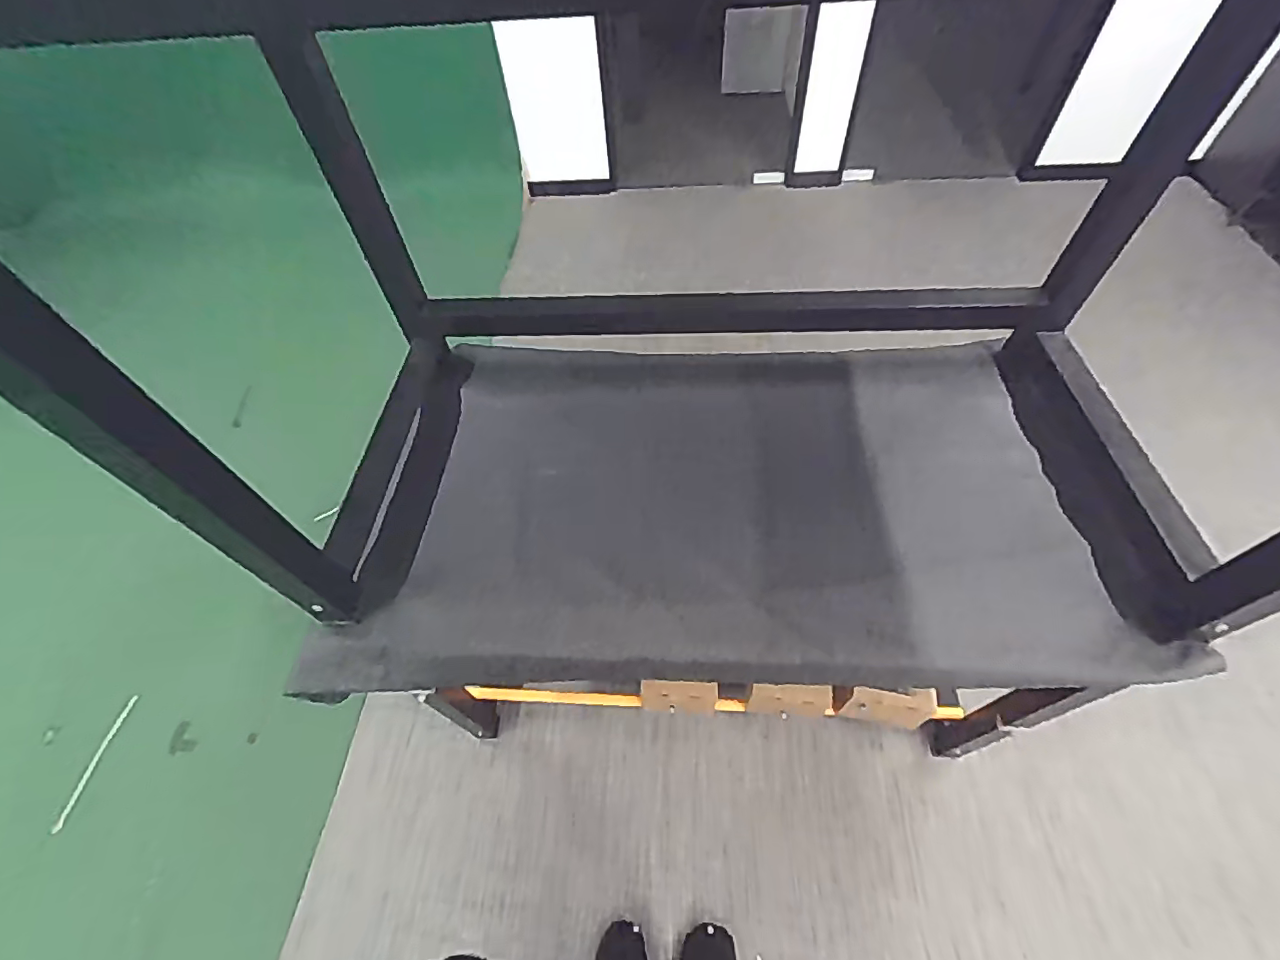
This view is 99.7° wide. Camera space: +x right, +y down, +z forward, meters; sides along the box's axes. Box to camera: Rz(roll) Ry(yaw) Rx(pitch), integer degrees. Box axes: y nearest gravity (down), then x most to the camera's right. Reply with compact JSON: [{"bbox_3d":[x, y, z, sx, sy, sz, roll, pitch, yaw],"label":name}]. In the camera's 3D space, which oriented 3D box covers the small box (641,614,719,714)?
[{"bbox_3d":[0.094,0.429,1.257,0.168,0.176,0.179,2,56,5],"label":"small box"}]
